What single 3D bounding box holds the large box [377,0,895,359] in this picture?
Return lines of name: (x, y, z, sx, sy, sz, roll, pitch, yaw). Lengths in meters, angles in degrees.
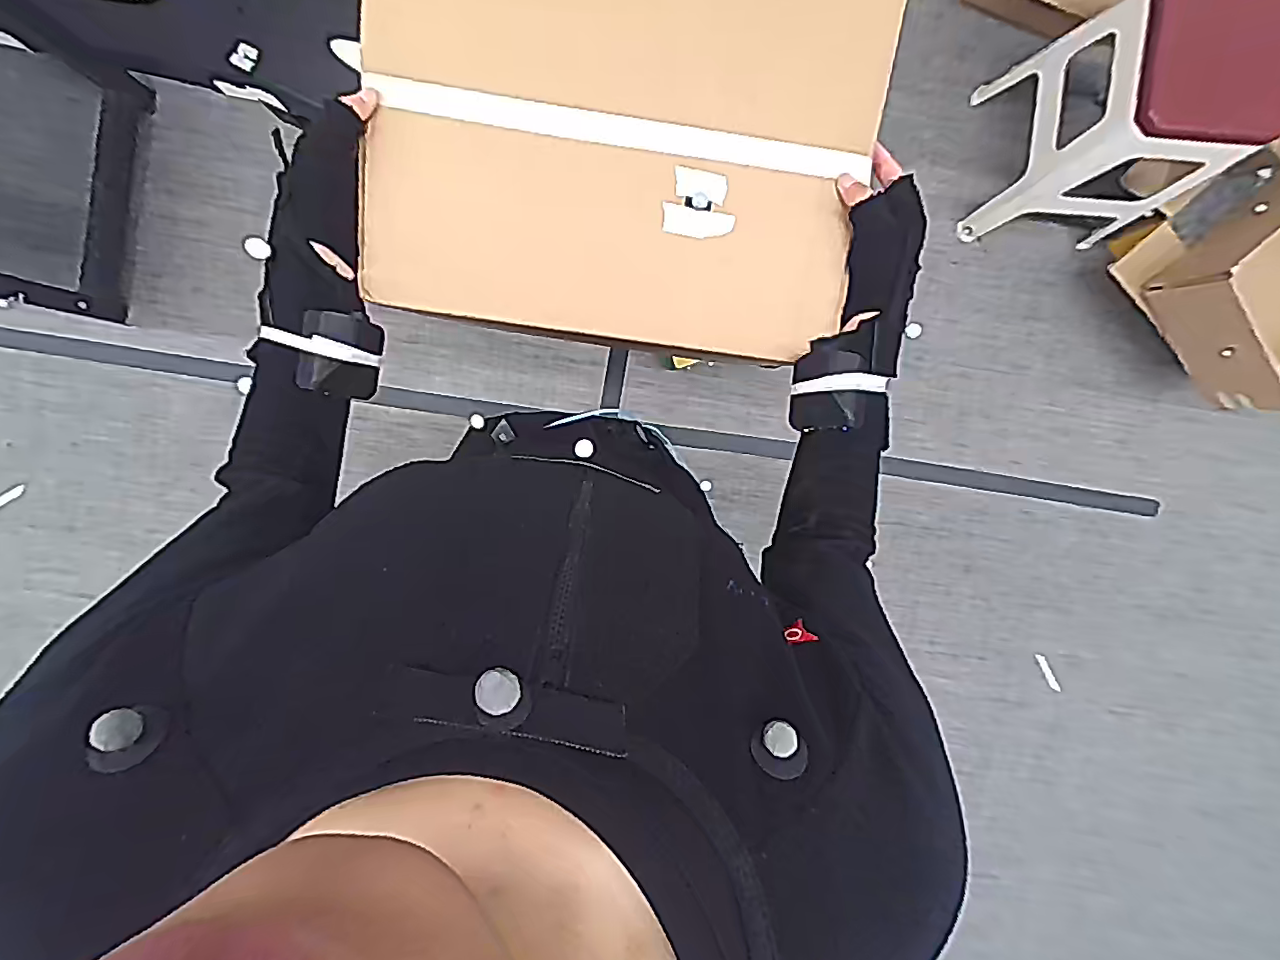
large box: (-0.019, -0.312, 0.587, 0.408, 0.320, 0.320, 7, 103, -5)
